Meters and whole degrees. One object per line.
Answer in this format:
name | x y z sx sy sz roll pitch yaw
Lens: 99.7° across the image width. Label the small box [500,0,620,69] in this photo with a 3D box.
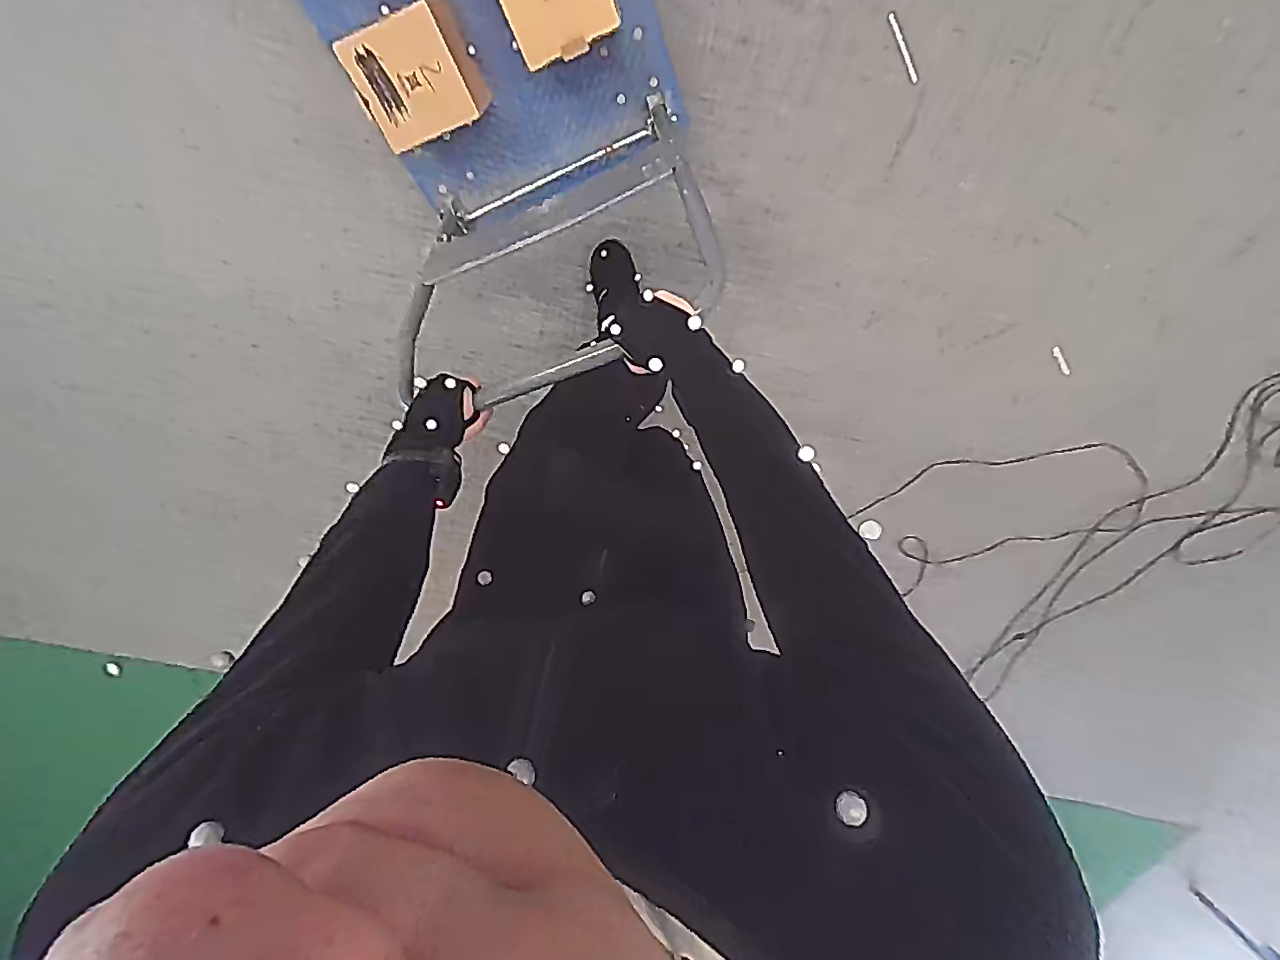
small box | -0.143 -0.814 0.878 0.168 0.176 0.179 -18 134 13
